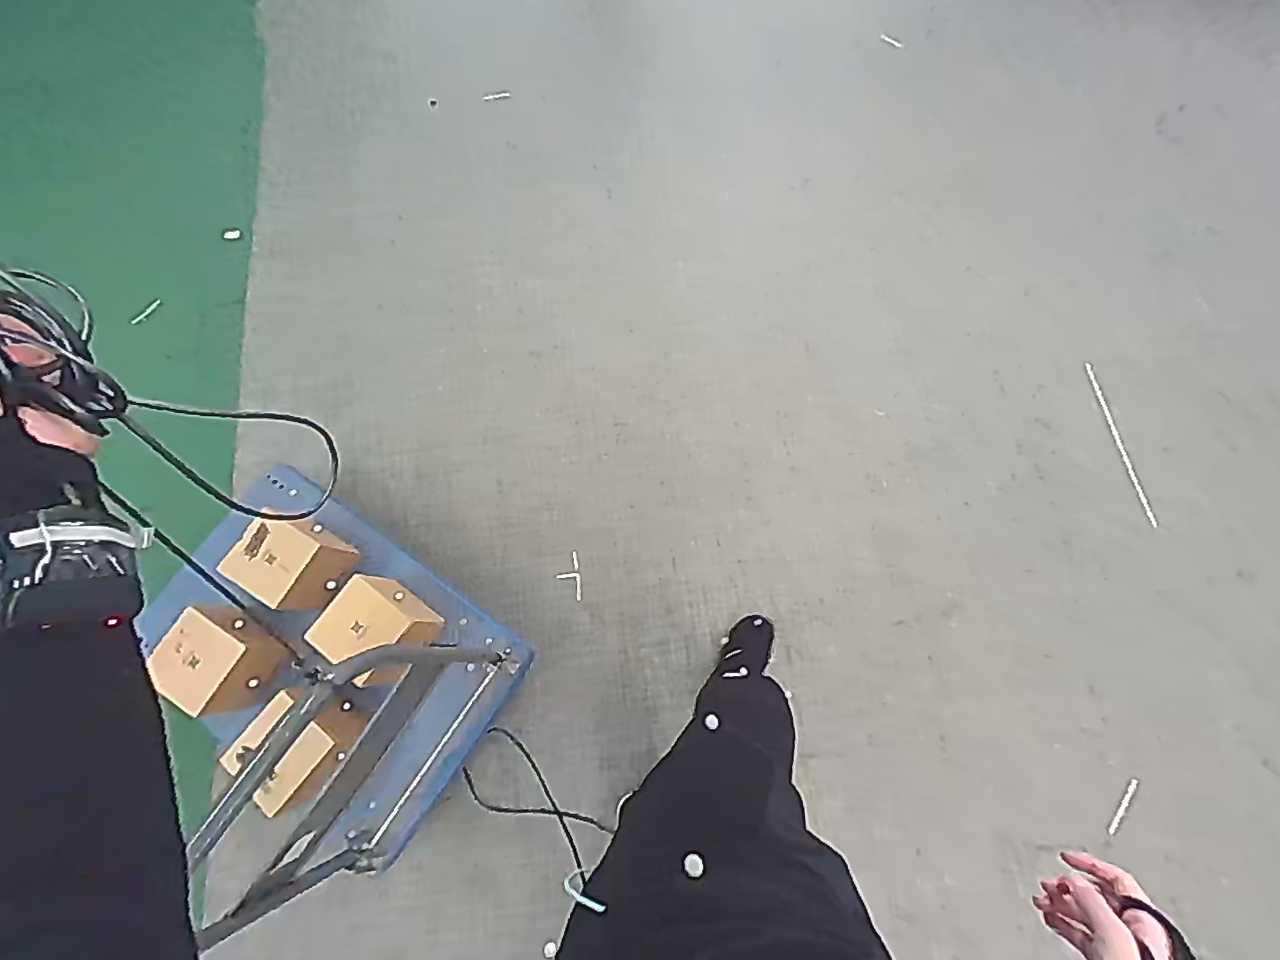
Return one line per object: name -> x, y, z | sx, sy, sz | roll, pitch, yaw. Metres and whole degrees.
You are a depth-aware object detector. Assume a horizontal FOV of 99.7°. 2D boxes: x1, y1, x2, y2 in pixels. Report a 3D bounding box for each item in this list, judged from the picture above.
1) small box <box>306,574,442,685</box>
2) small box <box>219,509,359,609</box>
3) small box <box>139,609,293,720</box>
small box -> -0.585, 0.335, 1.213 | 0.179, 0.176, 0.168 | 34, 79, 11
small box -> -0.810, 0.192, 1.264 | 0.179, 0.176, 0.168 | 29, 79, 10
small box -> -0.935, 0.405, 1.212 | 0.179, 0.176, 0.168 | 29, 77, 10
